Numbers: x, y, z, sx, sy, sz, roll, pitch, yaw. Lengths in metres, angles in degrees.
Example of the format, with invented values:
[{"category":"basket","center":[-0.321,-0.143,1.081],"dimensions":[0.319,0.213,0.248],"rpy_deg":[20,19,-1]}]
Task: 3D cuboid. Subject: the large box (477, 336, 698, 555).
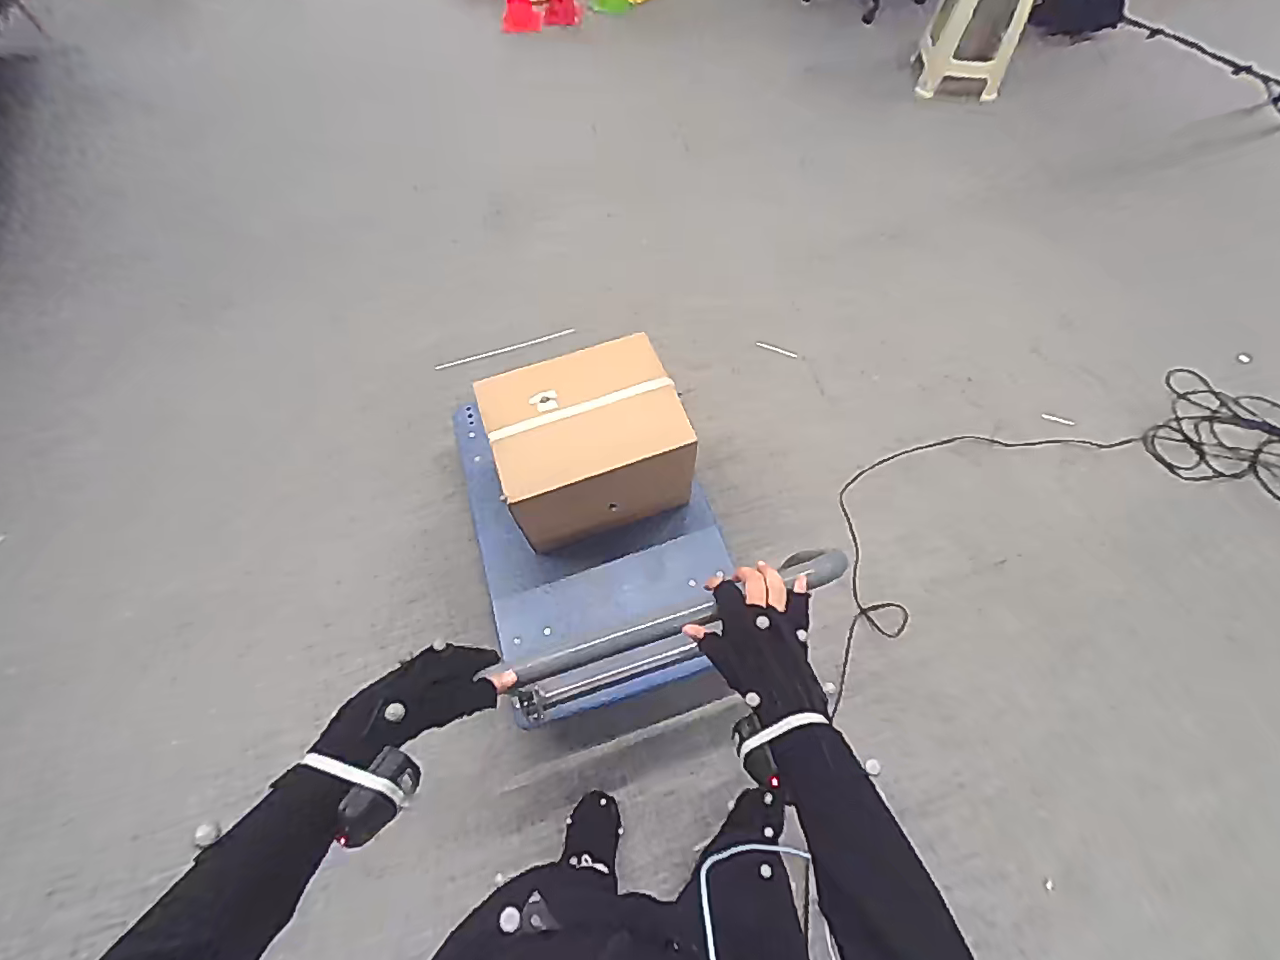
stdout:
[{"category":"large box","center":[-0.111,-0.070,1.278],"dimensions":[0.408,0.320,0.320],"rpy_deg":[-21,64,-8]}]
